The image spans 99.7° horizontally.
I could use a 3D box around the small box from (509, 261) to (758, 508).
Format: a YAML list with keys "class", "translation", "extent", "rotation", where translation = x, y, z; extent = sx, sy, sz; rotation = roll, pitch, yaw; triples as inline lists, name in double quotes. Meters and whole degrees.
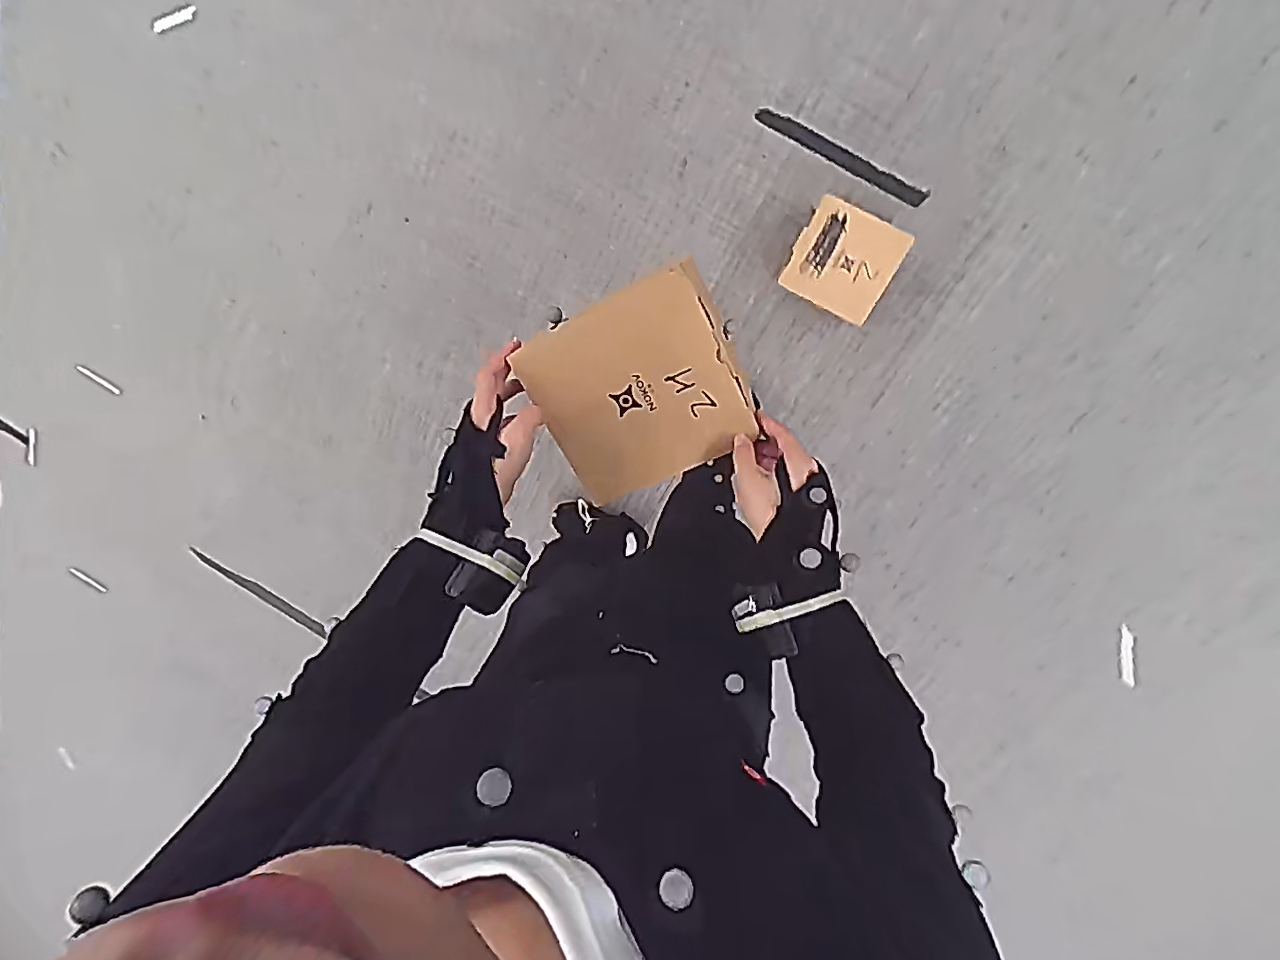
- class: "small box"
  translation: [0.004, -0.102, 0.548]
  extent: [0.179, 0.176, 0.168]
  rotation: [-23, 111, 17]
